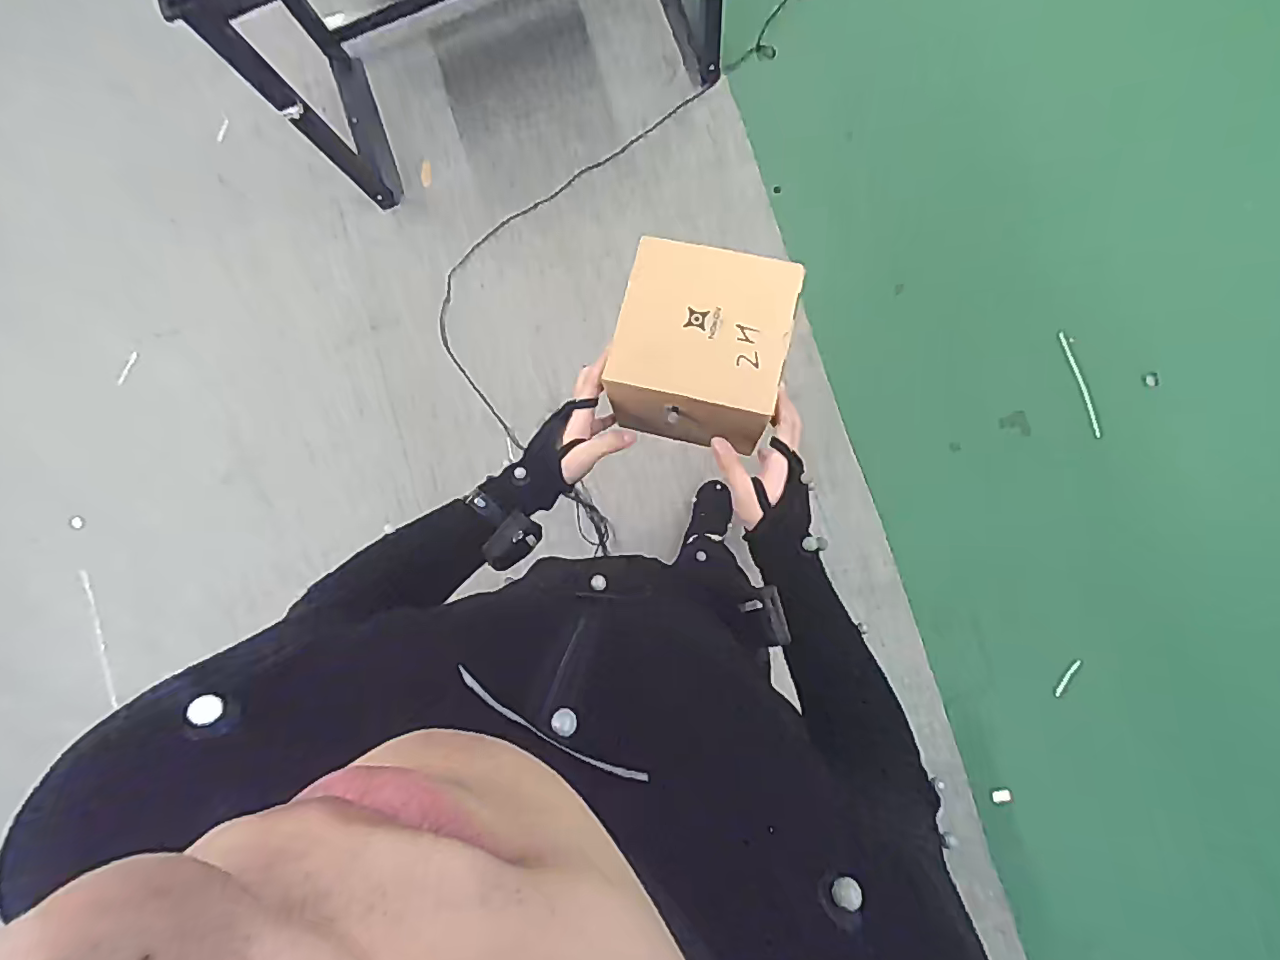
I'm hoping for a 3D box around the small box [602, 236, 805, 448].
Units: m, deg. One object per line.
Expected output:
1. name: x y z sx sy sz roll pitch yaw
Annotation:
1. small box: 0.071 -0.145 0.621 0.179 0.176 0.168 13 81 7
